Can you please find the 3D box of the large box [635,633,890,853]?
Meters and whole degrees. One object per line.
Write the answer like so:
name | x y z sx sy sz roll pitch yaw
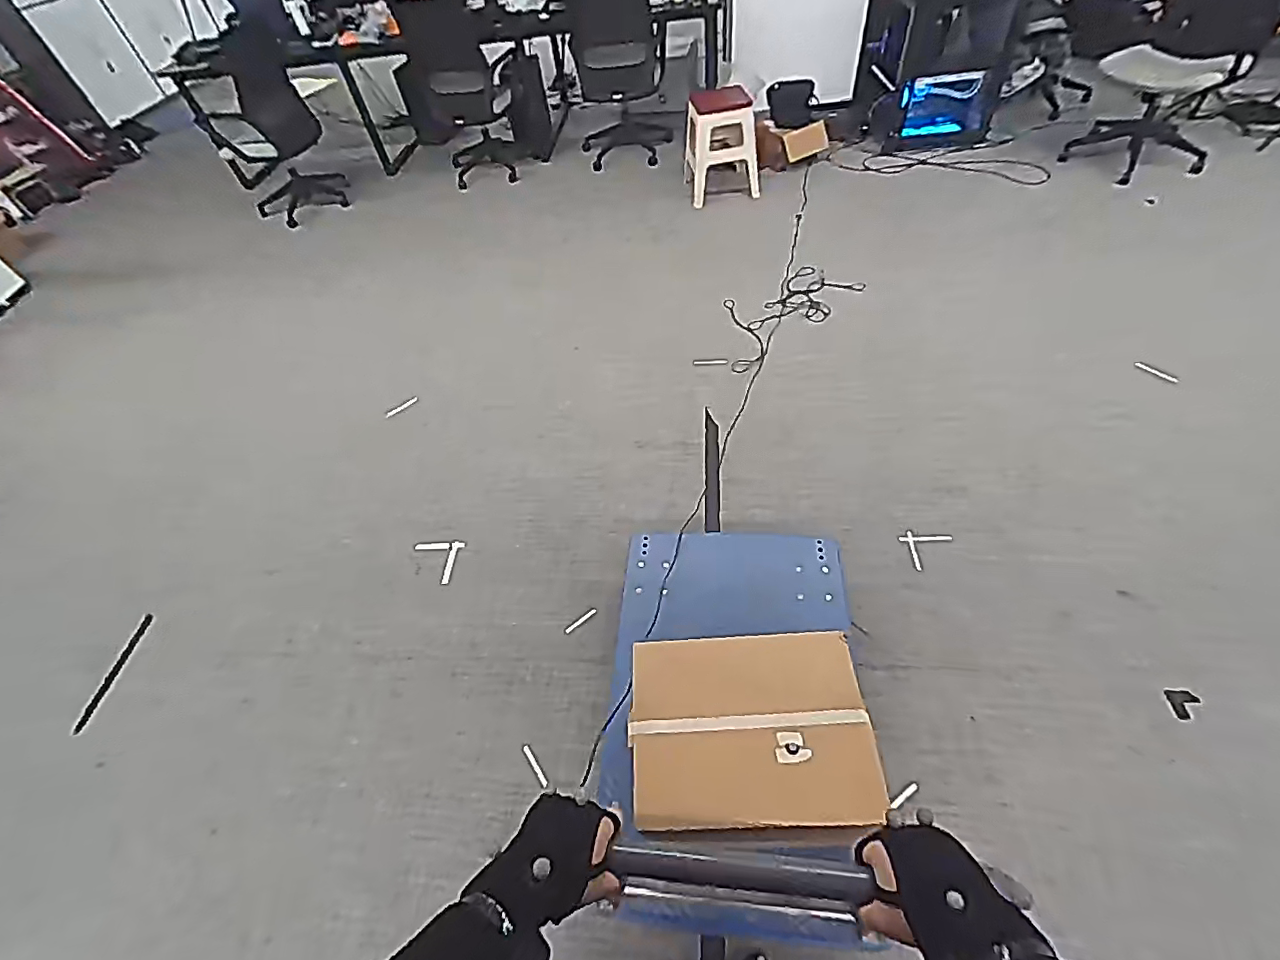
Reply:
large box | 0.205 0.524 1.065 0.408 0.320 0.320 -5 51 3
